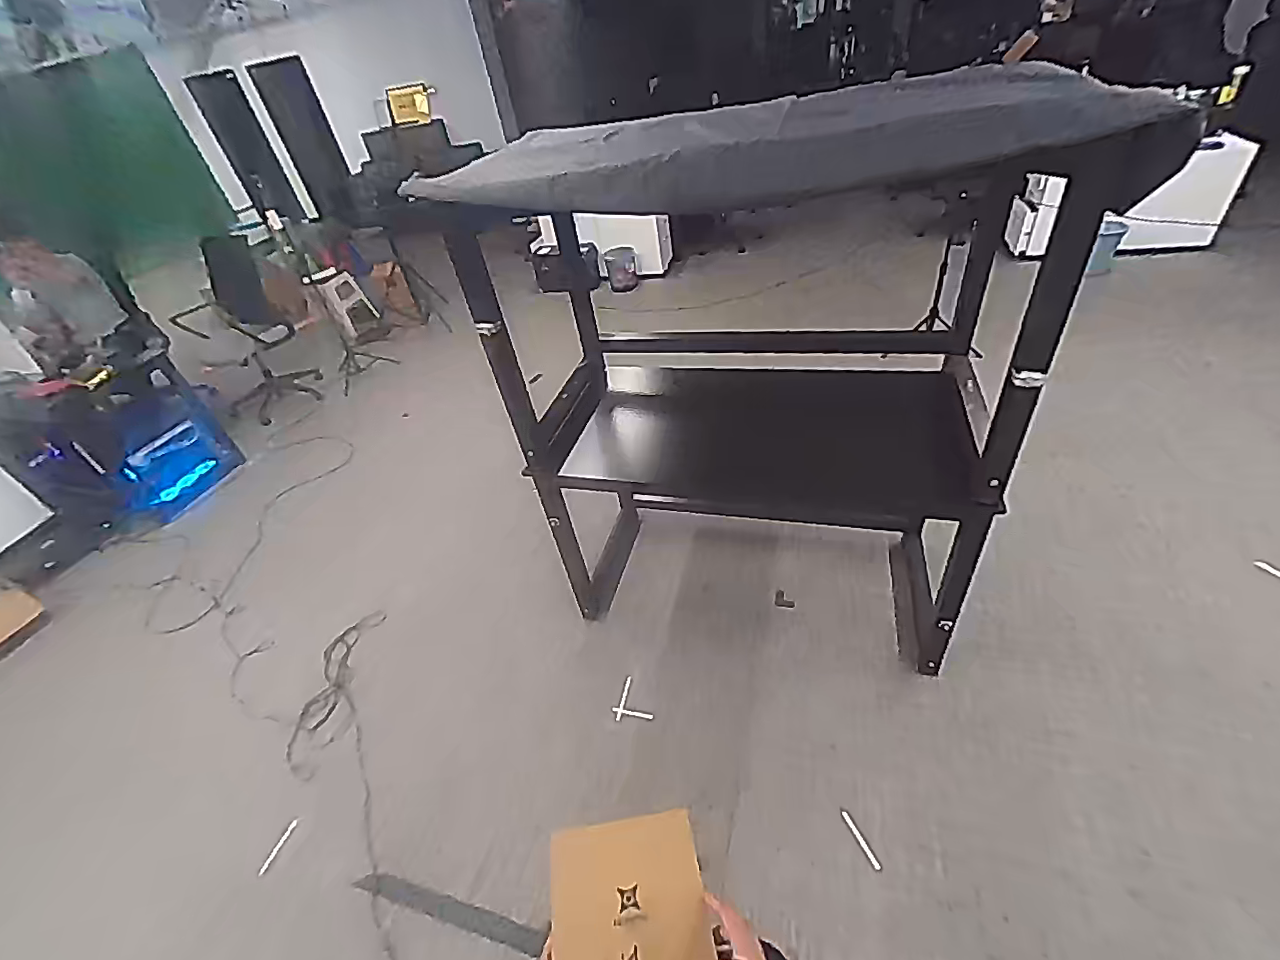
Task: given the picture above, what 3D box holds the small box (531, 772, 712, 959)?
[{"bbox_3d":[-0.026,0.455,0.589,0.168,0.176,0.179,-6,37,-6],"label":"small box"}]
